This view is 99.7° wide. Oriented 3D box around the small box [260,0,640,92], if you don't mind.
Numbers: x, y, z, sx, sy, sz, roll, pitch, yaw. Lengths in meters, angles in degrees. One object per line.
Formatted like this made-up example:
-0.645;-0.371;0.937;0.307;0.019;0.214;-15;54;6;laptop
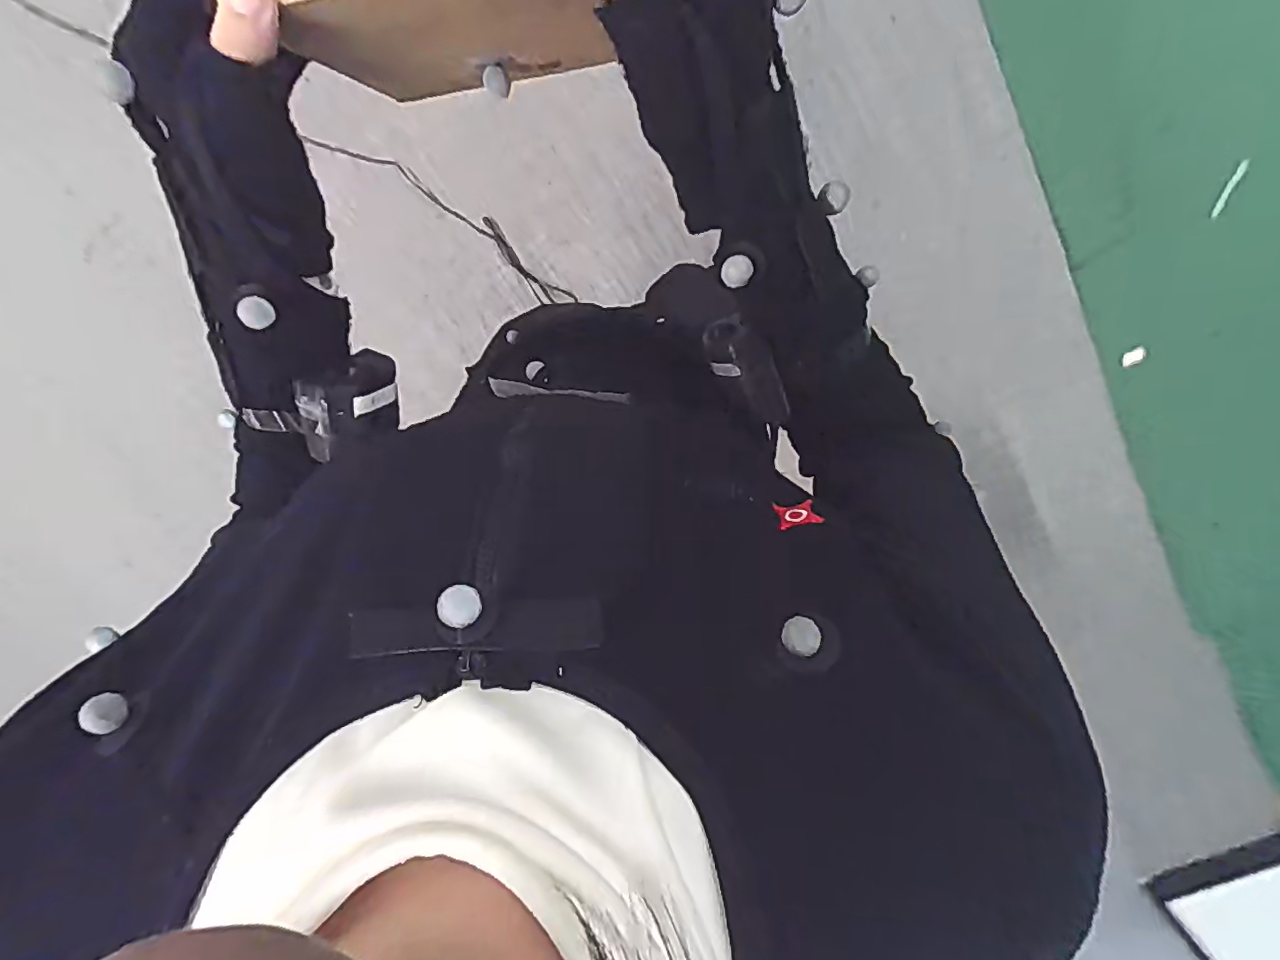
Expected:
-0.093;-0.303;0.234;0.168;0.176;0.179;-8;115;5;small box
